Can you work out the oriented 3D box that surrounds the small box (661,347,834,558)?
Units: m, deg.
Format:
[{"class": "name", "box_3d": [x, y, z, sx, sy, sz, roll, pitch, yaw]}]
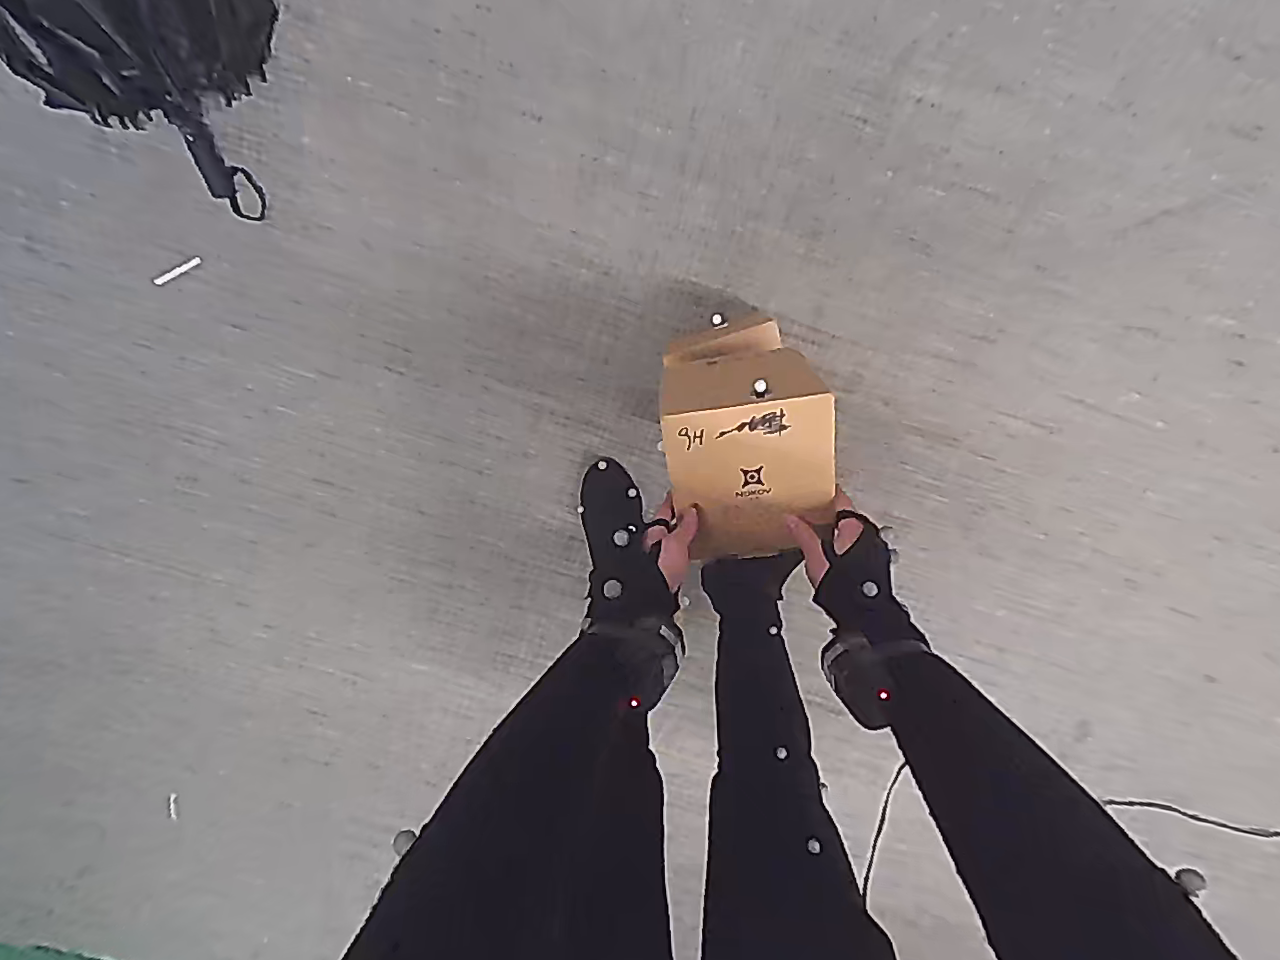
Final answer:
[{"class": "small box", "box_3d": [0.118, -0.036, 0.626, 0.168, 0.176, 0.179, -9, 119, 6]}]

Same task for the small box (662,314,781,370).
[{"class": "small box", "box_3d": [0.140, -0.148, 0.854, 0.168, 0.176, 0.179, -17, 109, 9]}]
